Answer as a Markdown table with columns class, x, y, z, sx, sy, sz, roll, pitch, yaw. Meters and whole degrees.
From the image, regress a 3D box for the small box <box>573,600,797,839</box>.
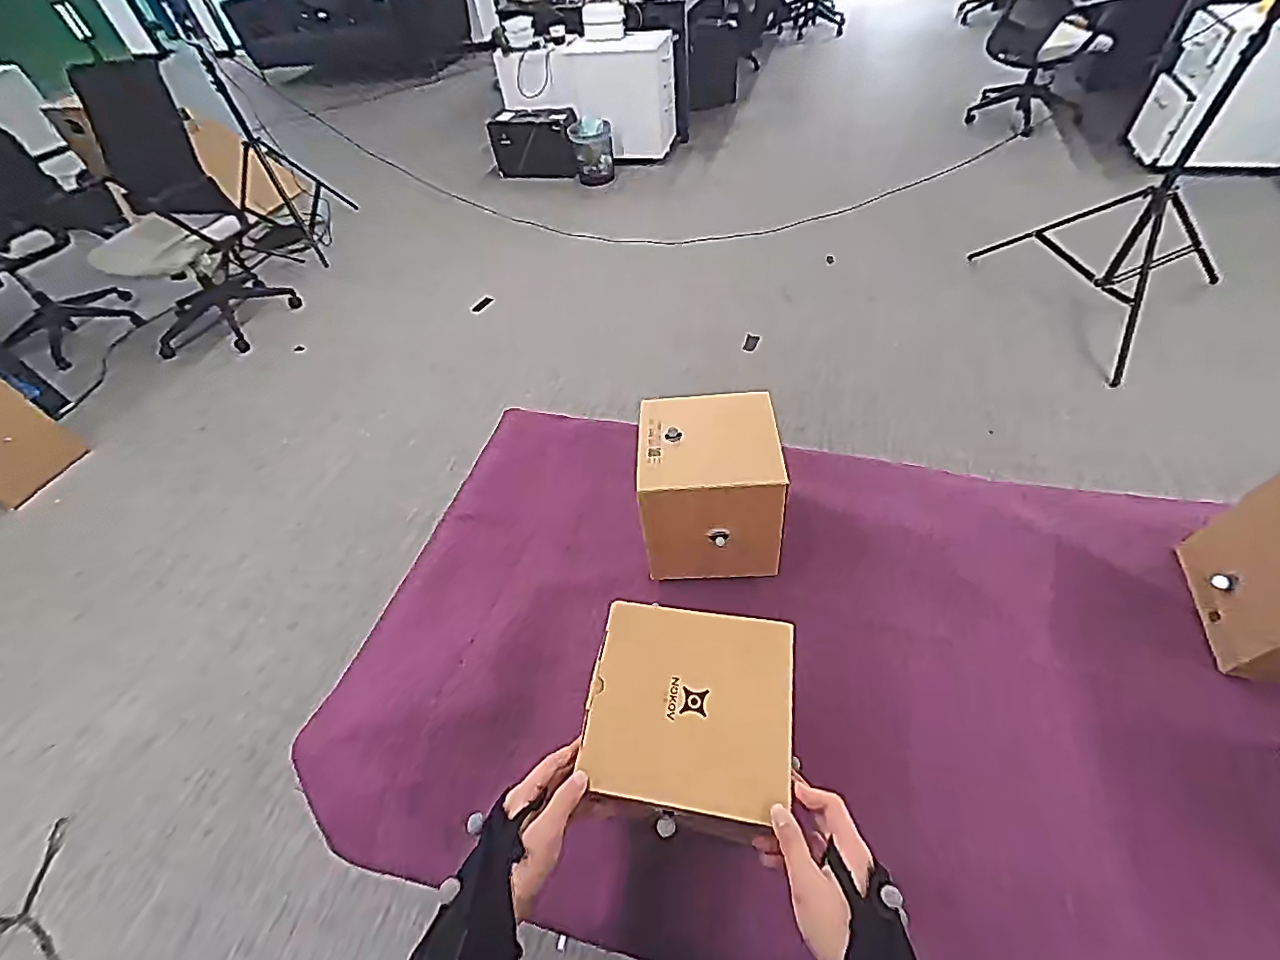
| class | x | y | z | sx | sy | sz | roll | pitch | yaw |
| --- | --- | --- | --- | --- | --- | --- | --- | --- | --- |
| small box | 0.053 | 0.237 | 0.528 | 0.179 | 0.176 | 0.168 | 4 | 53 | 11 |

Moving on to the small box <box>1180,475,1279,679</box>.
| class | x | y | z | sx | sy | sz | roll | pitch | yaw |
| --- | --- | --- | --- | --- | --- | --- | --- | --- | --- |
| small box | 0.731 | 0.108 | 0.553 | 0.179 | 0.176 | 0.168 | 9 | 53 | 14 |
